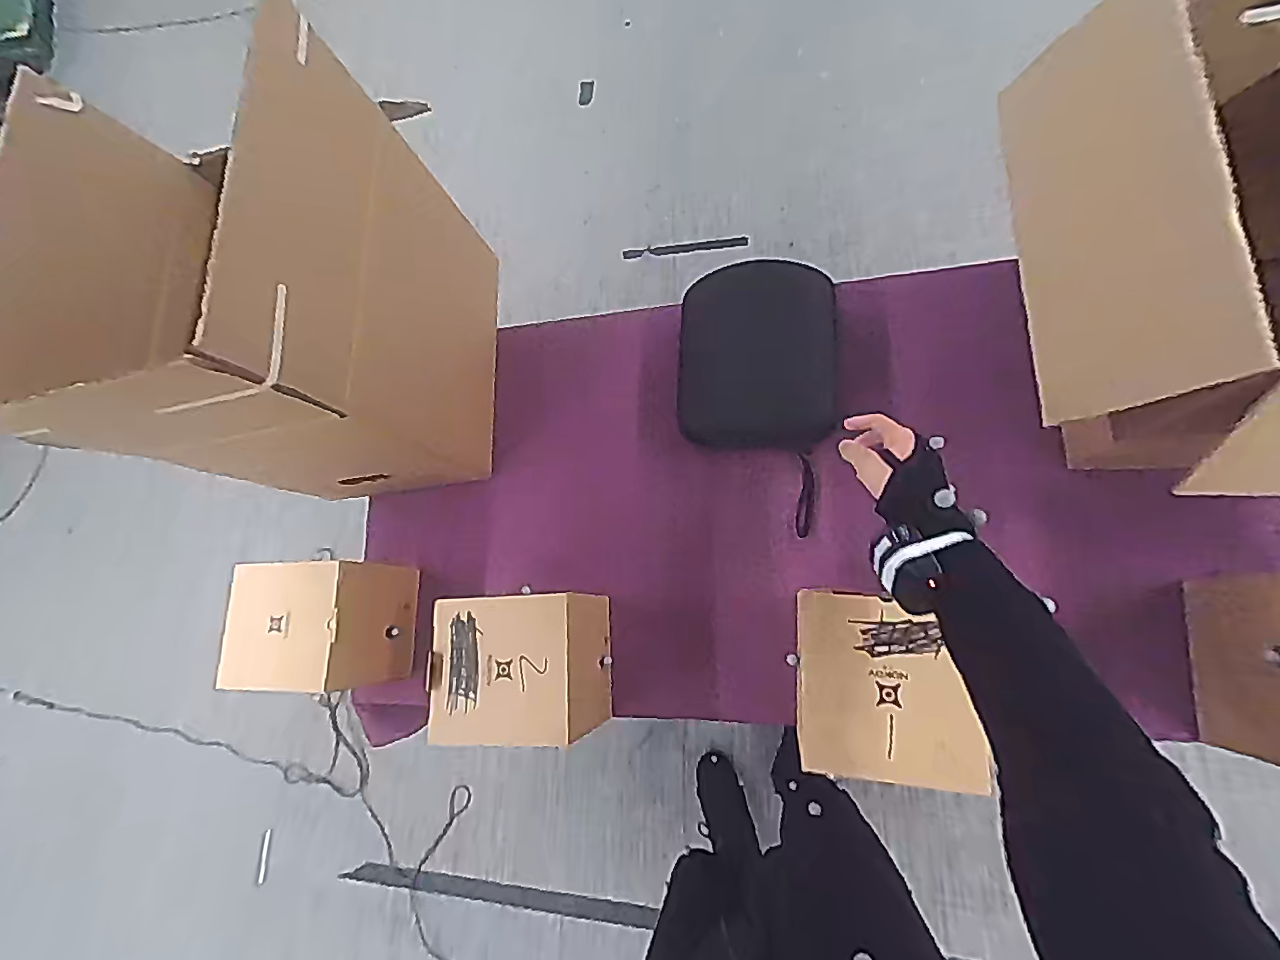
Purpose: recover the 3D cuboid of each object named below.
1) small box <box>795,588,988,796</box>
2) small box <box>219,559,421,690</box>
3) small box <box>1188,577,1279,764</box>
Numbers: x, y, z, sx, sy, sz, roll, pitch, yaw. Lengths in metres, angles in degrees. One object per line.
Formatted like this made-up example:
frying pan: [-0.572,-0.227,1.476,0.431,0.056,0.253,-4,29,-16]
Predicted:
small box: [0.261,0.217,0.599,0.168,0.176,0.179,1,78,15]
small box: [-0.452,0.206,0.787,0.179,0.176,0.168,-3,76,12]
small box: [0.663,0.183,0.500,0.168,0.176,0.179,4,78,16]
